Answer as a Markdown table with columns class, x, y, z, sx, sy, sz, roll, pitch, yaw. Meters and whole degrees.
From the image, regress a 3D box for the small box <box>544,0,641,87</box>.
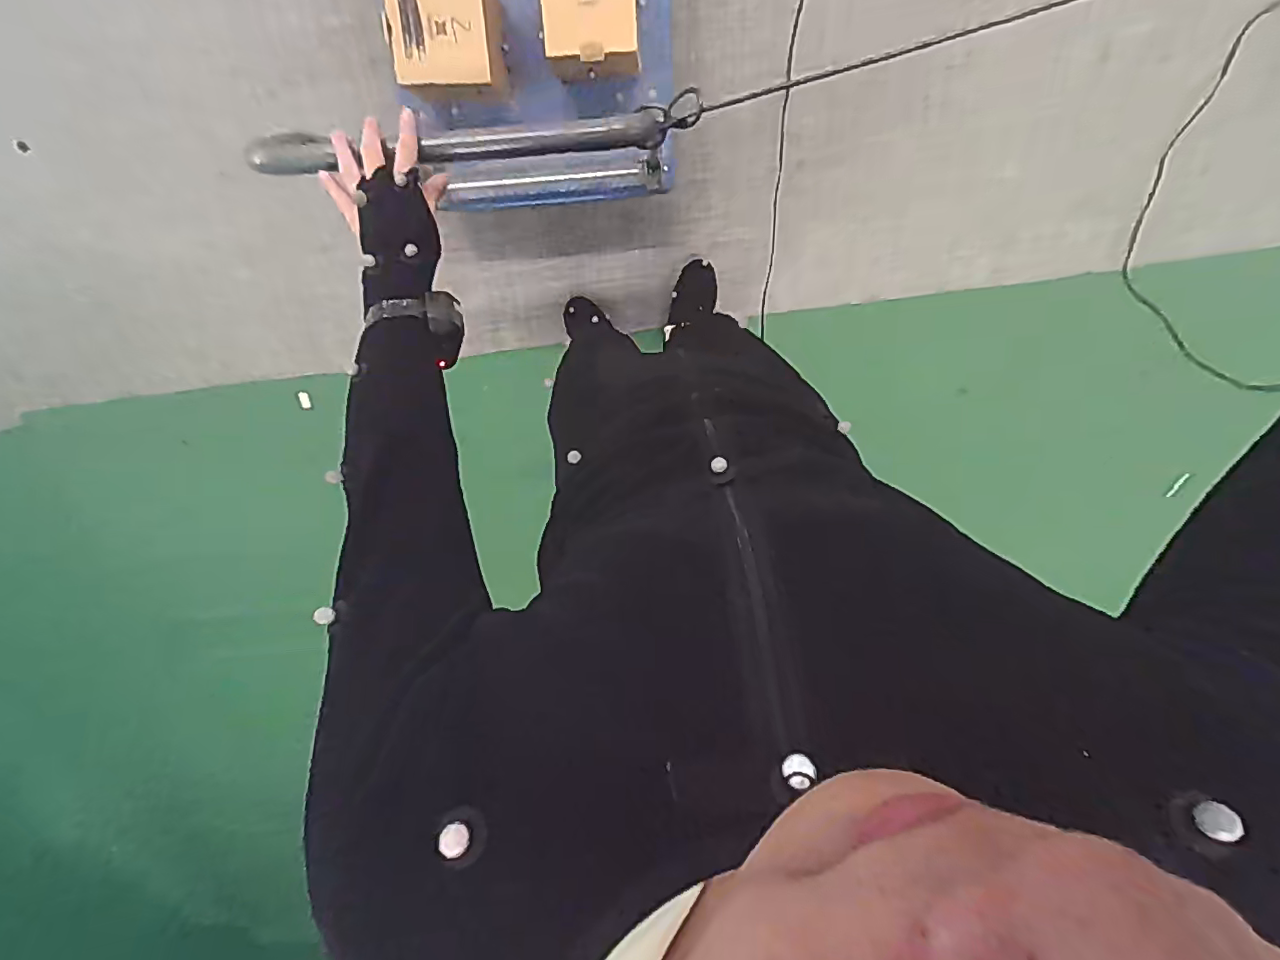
| class | x | y | z | sx | sy | sz | roll | pitch | yaw |
| --- | --- | --- | --- | --- | --- | --- | --- | --- | --- |
| small box | -0.083 | -0.856 | 1.003 | 0.168 | 0.176 | 0.179 | -2 | 117 | 2 |
